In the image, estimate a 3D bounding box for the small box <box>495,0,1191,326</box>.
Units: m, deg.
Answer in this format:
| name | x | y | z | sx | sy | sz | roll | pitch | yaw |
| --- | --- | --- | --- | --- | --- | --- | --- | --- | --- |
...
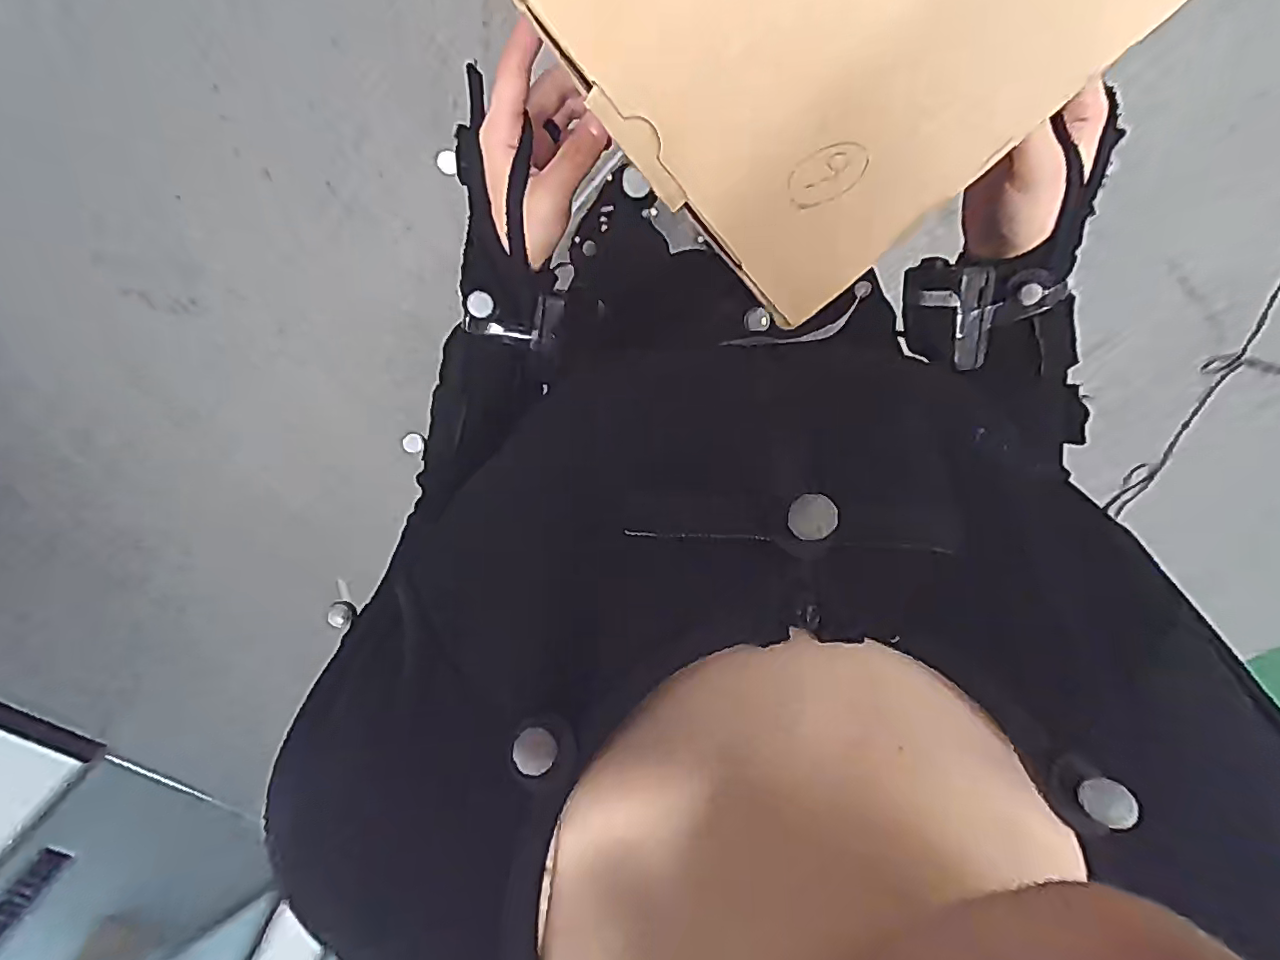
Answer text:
| name | x | y | z | sx | sy | sz | roll | pitch | yaw |
| --- | --- | --- | --- | --- | --- | --- | --- | --- | --- |
| small box | 0.067 | -0.195 | 0.220 | 0.179 | 0.176 | 0.168 | -38 | 108 | 22 |
